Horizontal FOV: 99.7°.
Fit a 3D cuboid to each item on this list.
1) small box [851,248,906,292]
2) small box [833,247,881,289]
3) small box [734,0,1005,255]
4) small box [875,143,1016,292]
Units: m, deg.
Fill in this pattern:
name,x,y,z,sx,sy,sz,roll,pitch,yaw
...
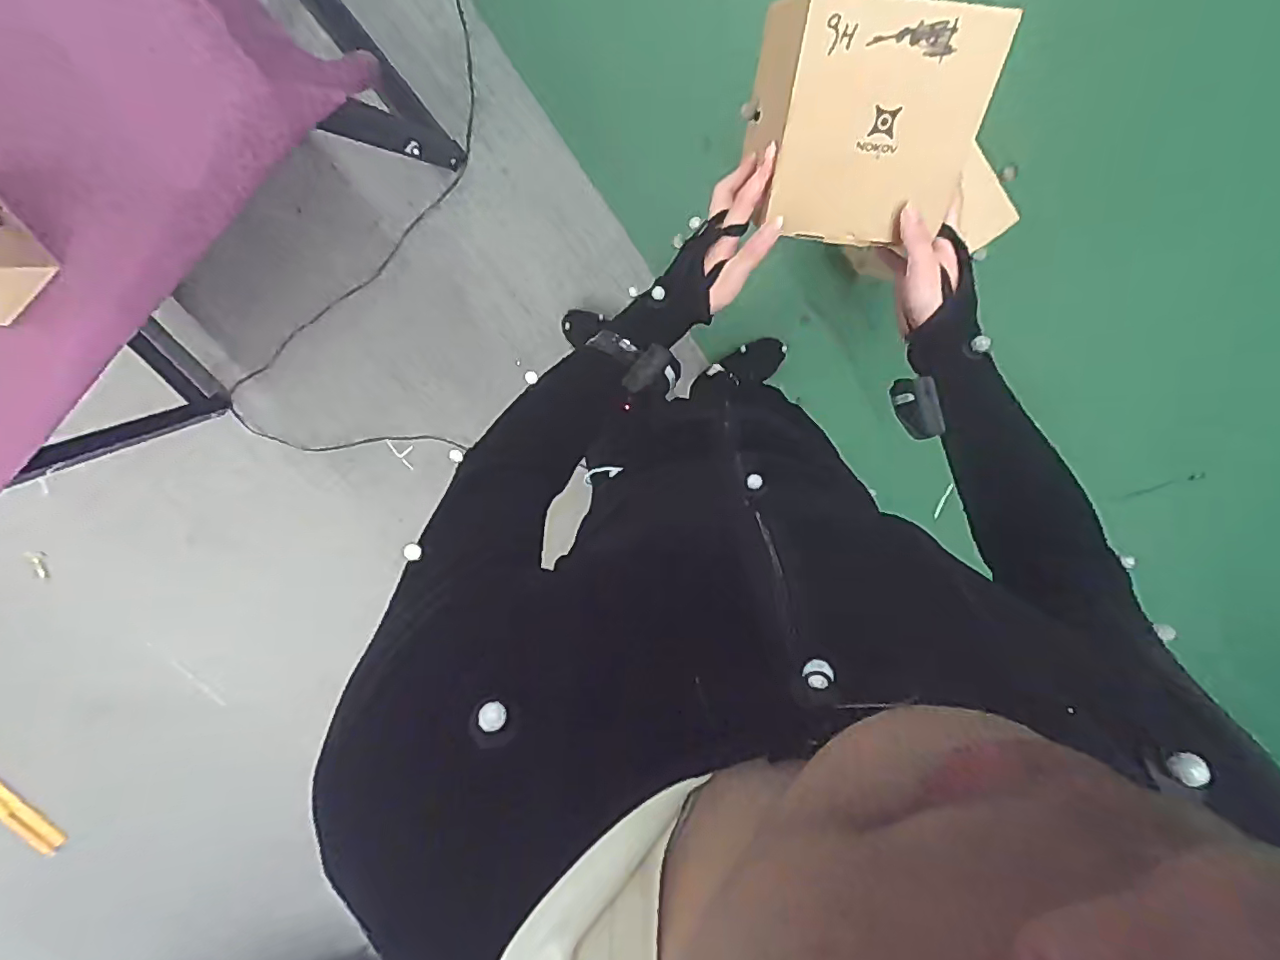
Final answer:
name,x,y,z,sx,sy,sz,roll,pitch,yaw
small box,0.555,-0.526,1.148,0.168,0.176,0.179,-35,103,18
small box,0.573,-0.586,1.298,0.168,0.176,0.179,-36,103,18
small box,0.192,-0.337,0.520,0.168,0.176,0.179,3,127,-3
small box,0.531,-0.470,0.996,0.168,0.176,0.179,-37,103,19
